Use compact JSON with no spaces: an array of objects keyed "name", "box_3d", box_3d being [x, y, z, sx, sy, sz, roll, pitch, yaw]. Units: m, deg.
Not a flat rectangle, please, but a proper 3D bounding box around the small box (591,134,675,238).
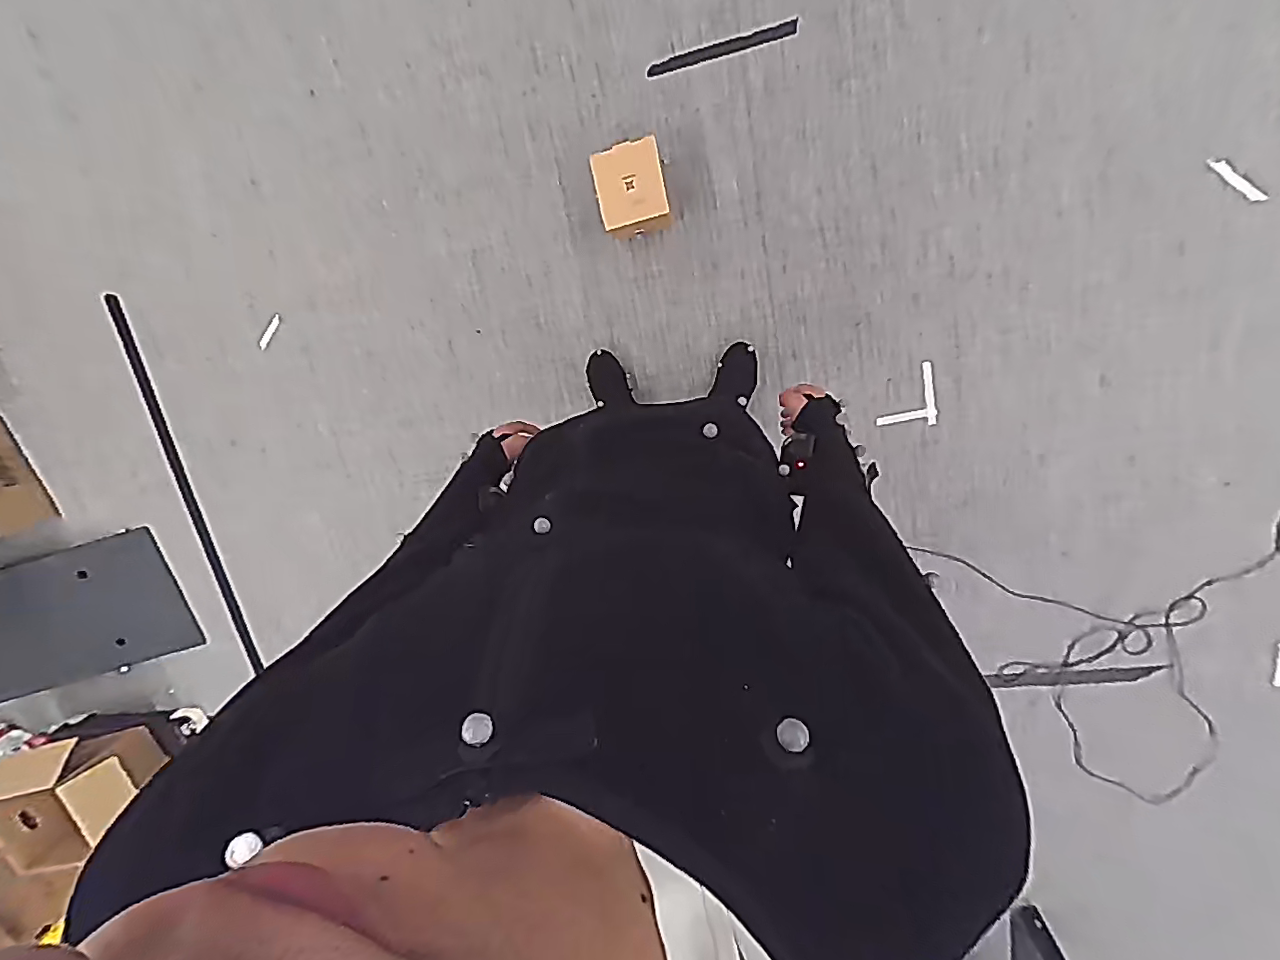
[{"name":"small box","box_3d":[-0.012,-0.734,1.369,0.168,0.176,0.179,-10,104,12]}]
